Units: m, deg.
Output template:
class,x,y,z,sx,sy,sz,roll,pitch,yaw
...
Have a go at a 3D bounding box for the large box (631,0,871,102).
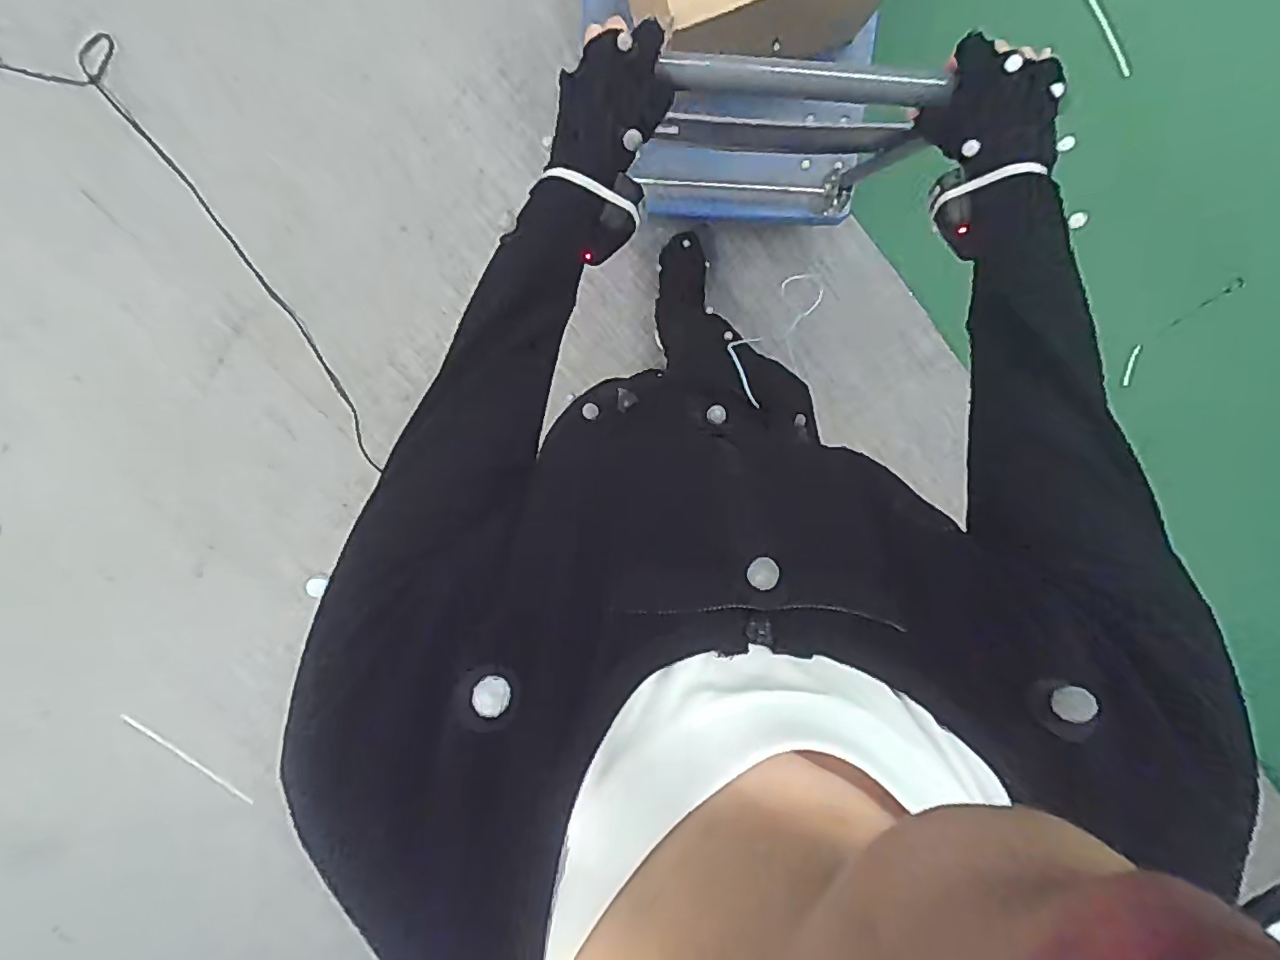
class,x,y,z,sx,sy,sz,roll,pitch,yaw
large box,0.182,-0.910,0.888,0.408,0.320,0.320,-18,105,5
